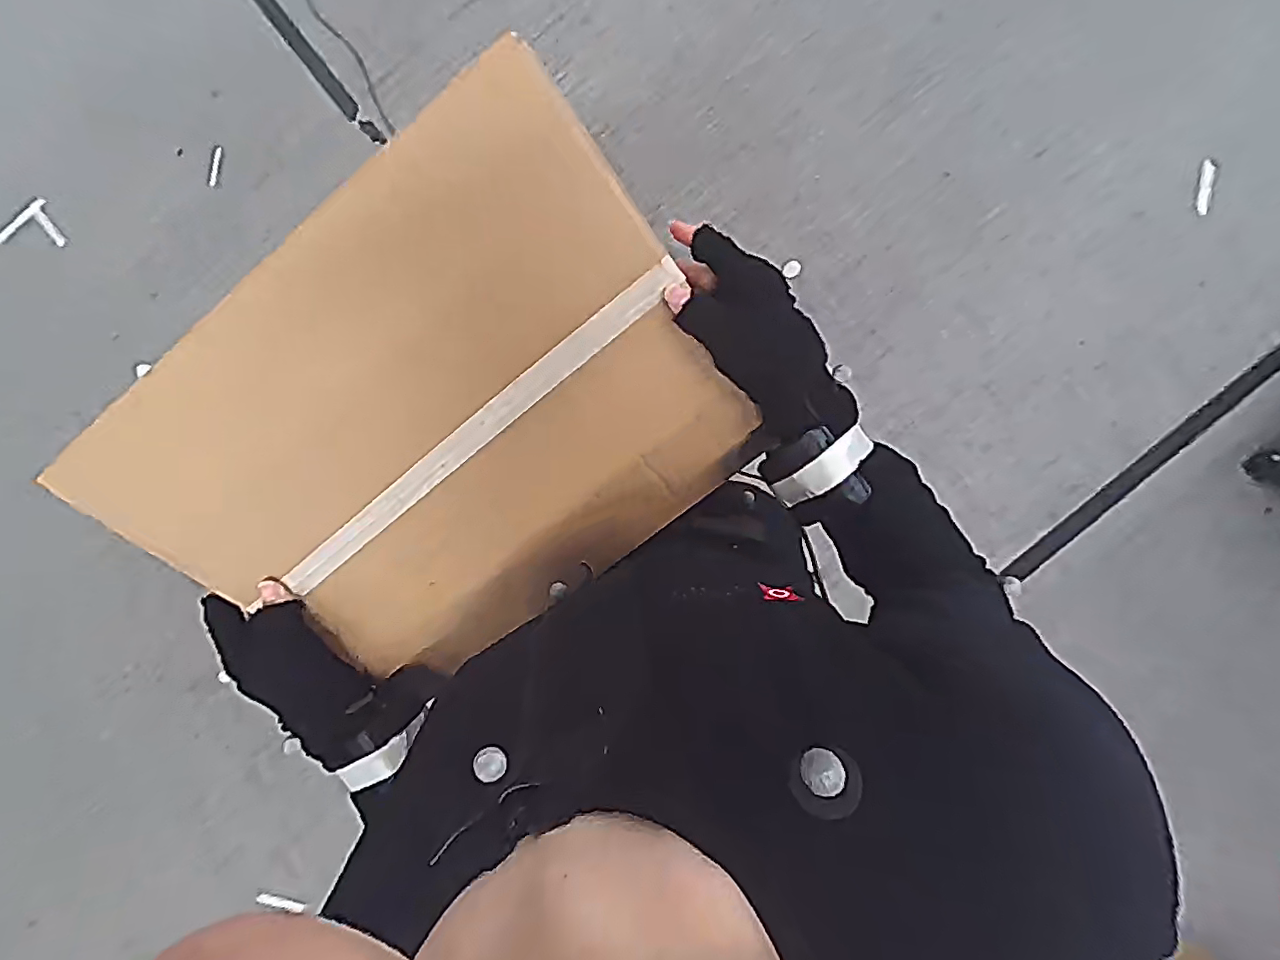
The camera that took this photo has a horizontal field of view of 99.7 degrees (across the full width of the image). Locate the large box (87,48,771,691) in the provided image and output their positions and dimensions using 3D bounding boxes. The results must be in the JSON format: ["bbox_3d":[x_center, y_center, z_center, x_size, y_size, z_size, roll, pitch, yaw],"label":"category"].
[{"bbox_3d":[-0.160,-0.088,0.533,0.408,0.320,0.320,-37,117,9],"label":"large box"}]
